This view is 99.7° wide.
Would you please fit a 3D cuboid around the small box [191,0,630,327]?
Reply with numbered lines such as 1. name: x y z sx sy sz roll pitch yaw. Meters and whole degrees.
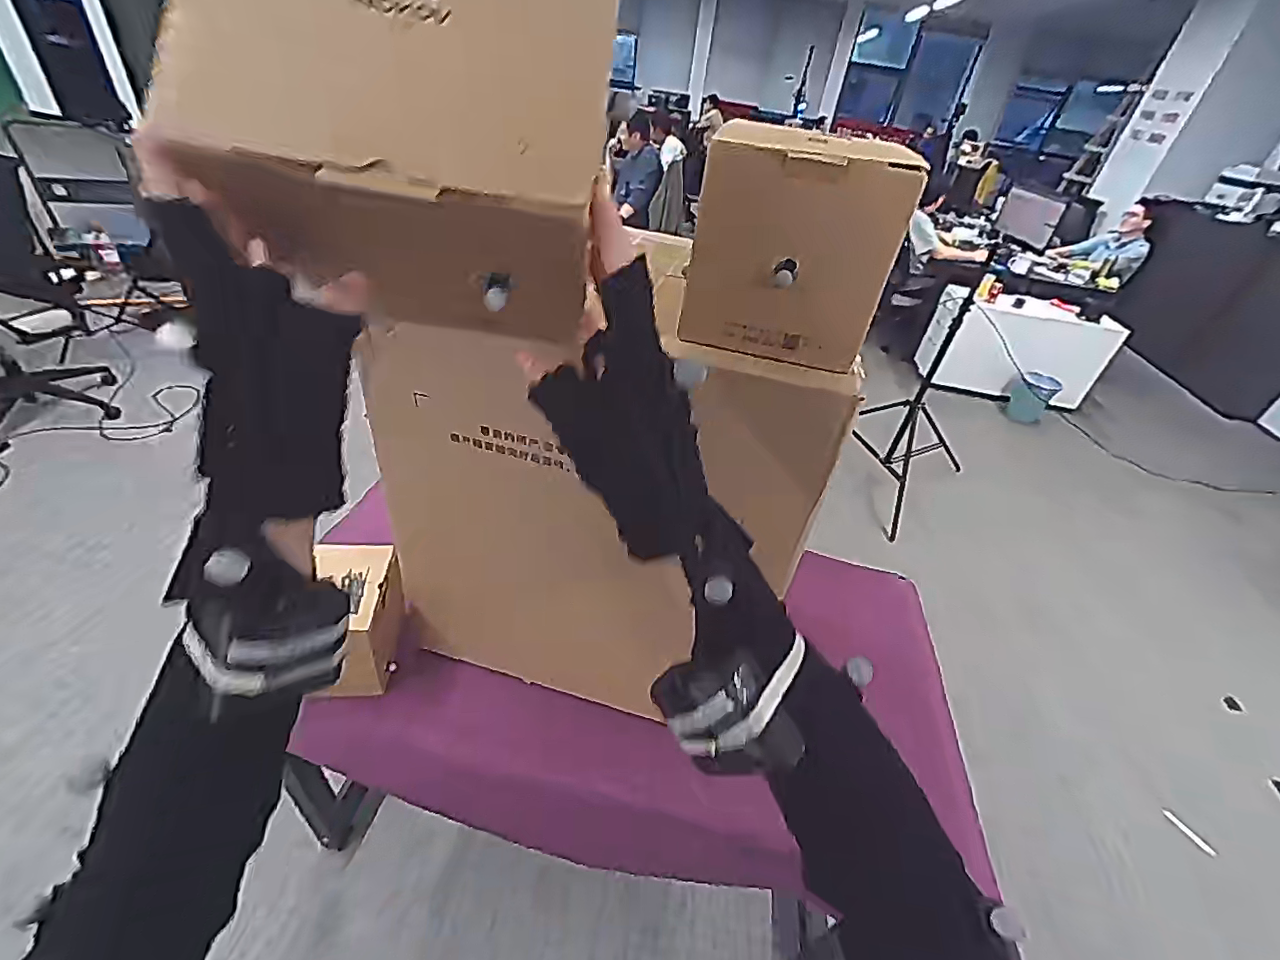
1. small box: -0.096 -0.204 0.307 0.168 0.179 0.176 6 -7 -7

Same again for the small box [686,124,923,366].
1. small box: 0.145 -0.229 0.524 0.168 0.176 0.179 13 39 7
